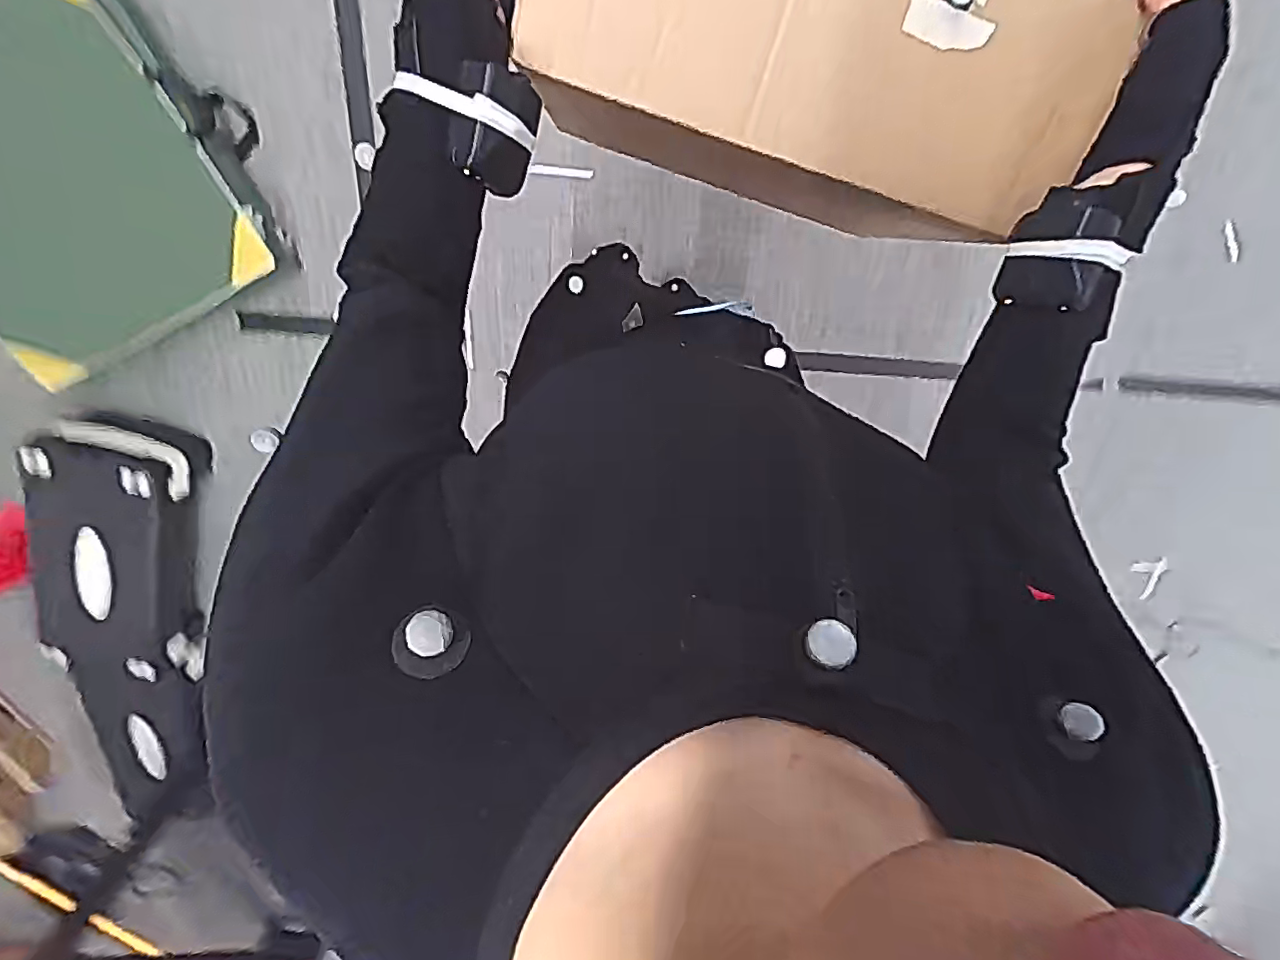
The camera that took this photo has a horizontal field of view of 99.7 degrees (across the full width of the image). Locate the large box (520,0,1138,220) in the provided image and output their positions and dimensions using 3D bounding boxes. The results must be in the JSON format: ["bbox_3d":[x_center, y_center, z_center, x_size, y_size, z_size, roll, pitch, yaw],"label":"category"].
[{"bbox_3d":[0.136,-0.438,0.462,0.408,0.320,0.320,12,116,-9],"label":"large box"}]
